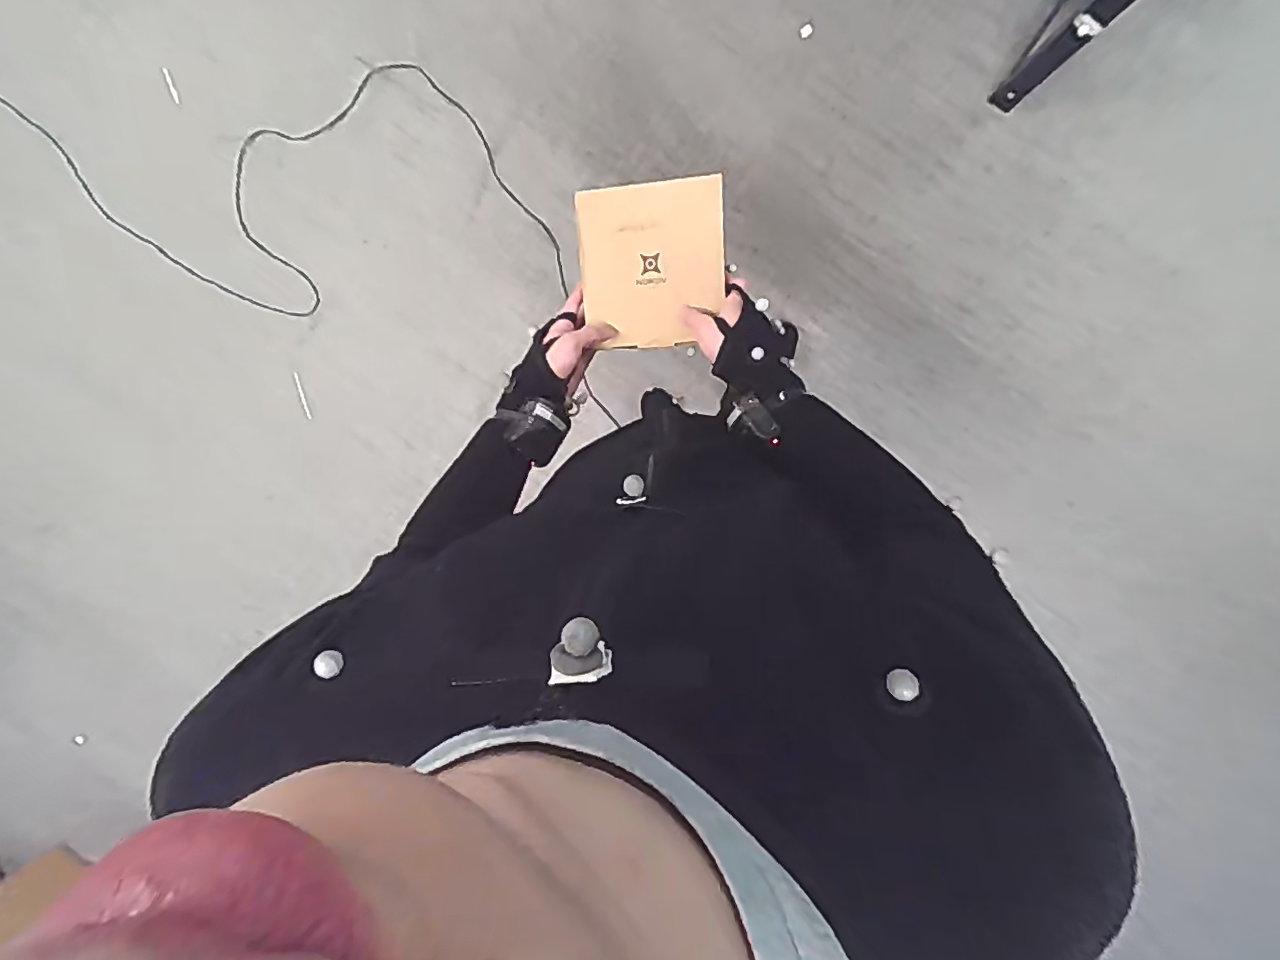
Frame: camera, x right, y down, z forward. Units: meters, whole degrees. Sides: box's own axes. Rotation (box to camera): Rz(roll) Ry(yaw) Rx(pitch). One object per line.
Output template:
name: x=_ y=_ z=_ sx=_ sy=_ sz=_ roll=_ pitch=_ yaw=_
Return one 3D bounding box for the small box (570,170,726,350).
small box: x=0.021 y=-0.256 z=0.670 sx=0.168 sy=0.176 sz=0.179 roll=-2 pitch=103 yaw=9
